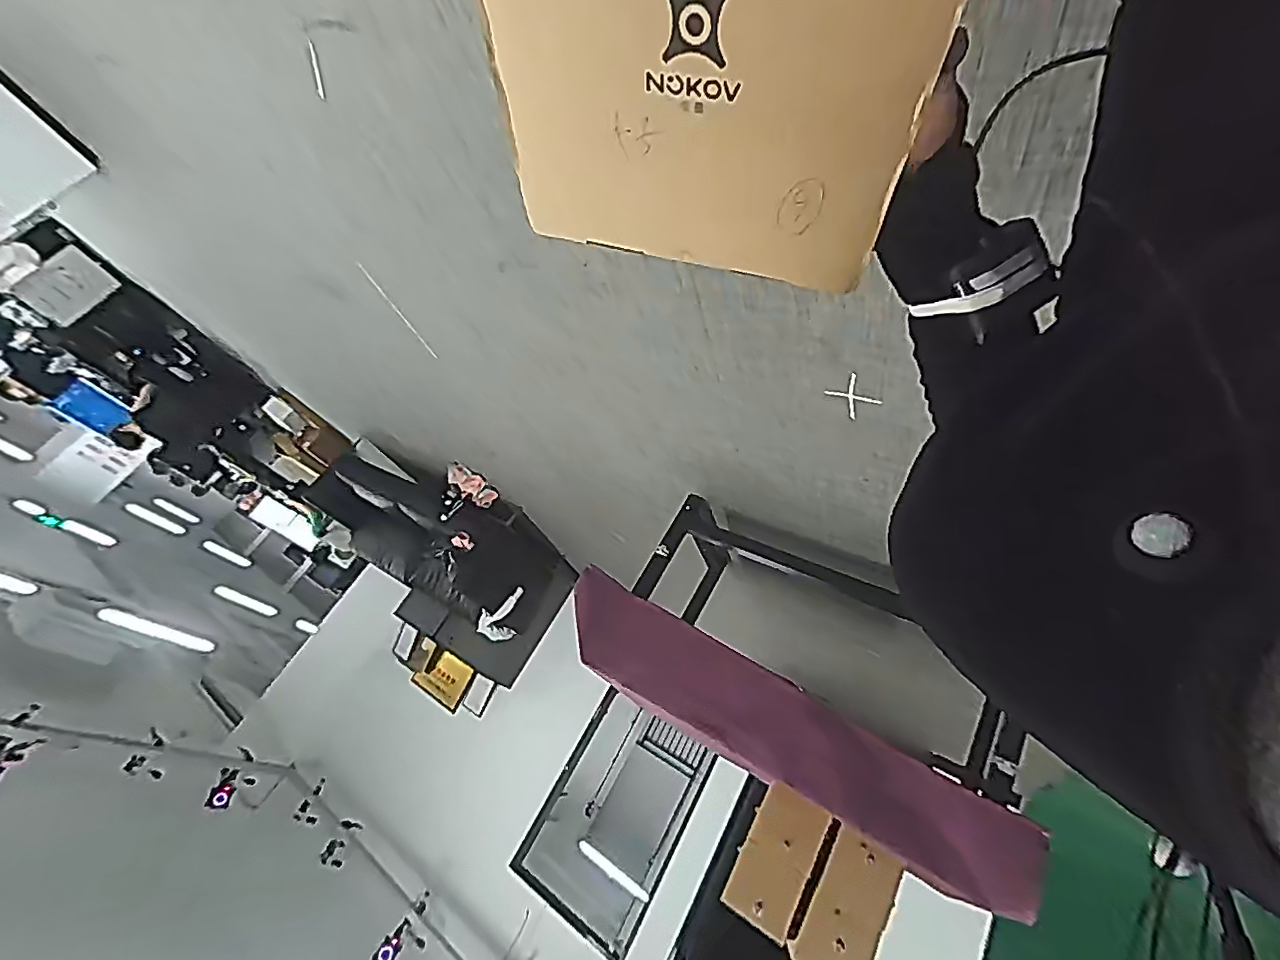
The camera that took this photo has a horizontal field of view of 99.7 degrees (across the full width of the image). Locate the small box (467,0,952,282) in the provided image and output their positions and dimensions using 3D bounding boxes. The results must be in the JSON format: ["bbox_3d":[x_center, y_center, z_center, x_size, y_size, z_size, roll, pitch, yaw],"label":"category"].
[{"bbox_3d":[0.040,-0.220,0.221,0.168,0.176,0.179,15,151,10],"label":"small box"}]
